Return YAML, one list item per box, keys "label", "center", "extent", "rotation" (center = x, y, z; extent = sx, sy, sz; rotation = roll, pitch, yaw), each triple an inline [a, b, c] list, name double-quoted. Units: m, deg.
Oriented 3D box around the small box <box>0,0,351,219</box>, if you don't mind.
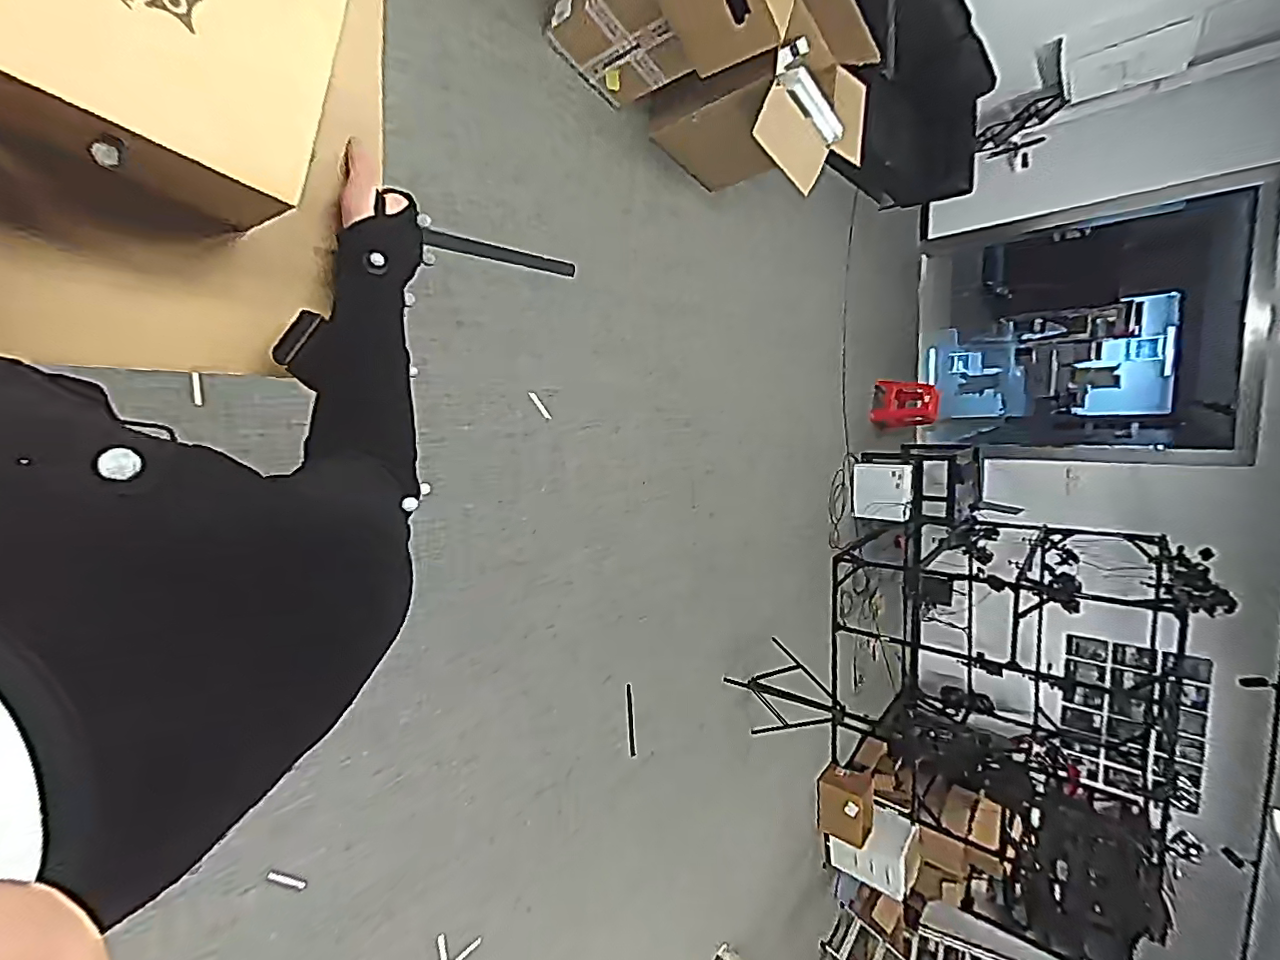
- label: "small box"
  center: [-0.341, -0.306, 0.382]
  extent: [0.179, 0.176, 0.168]
  rotation: [13, 94, -46]
